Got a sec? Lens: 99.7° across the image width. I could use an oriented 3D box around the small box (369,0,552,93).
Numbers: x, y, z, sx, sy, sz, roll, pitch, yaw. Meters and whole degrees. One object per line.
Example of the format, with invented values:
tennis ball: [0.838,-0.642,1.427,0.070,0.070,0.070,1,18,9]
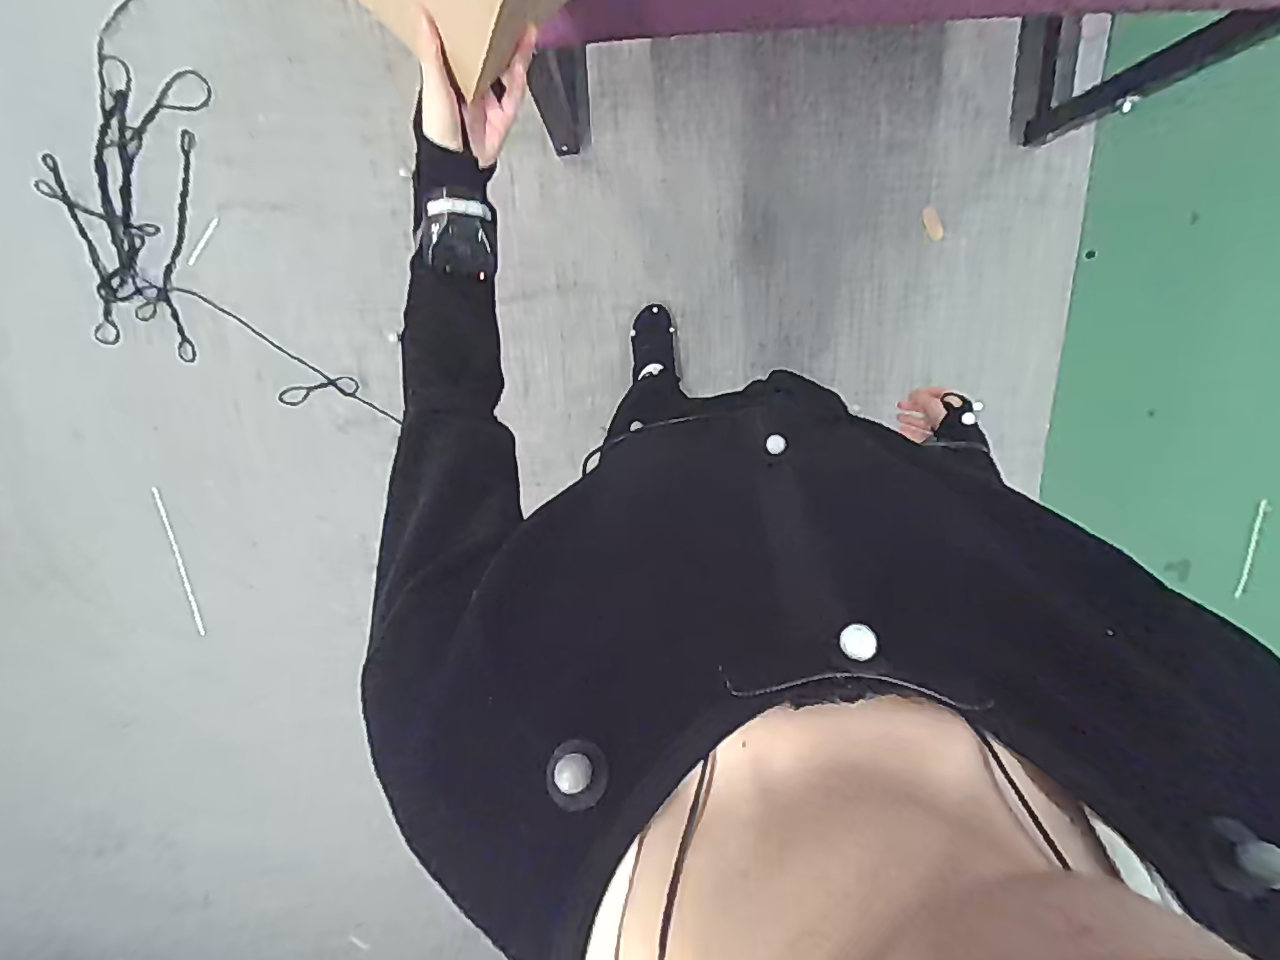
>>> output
small box: [-0.121,-0.430,0.361,0.168,0.179,0.176,39,73,-23]
